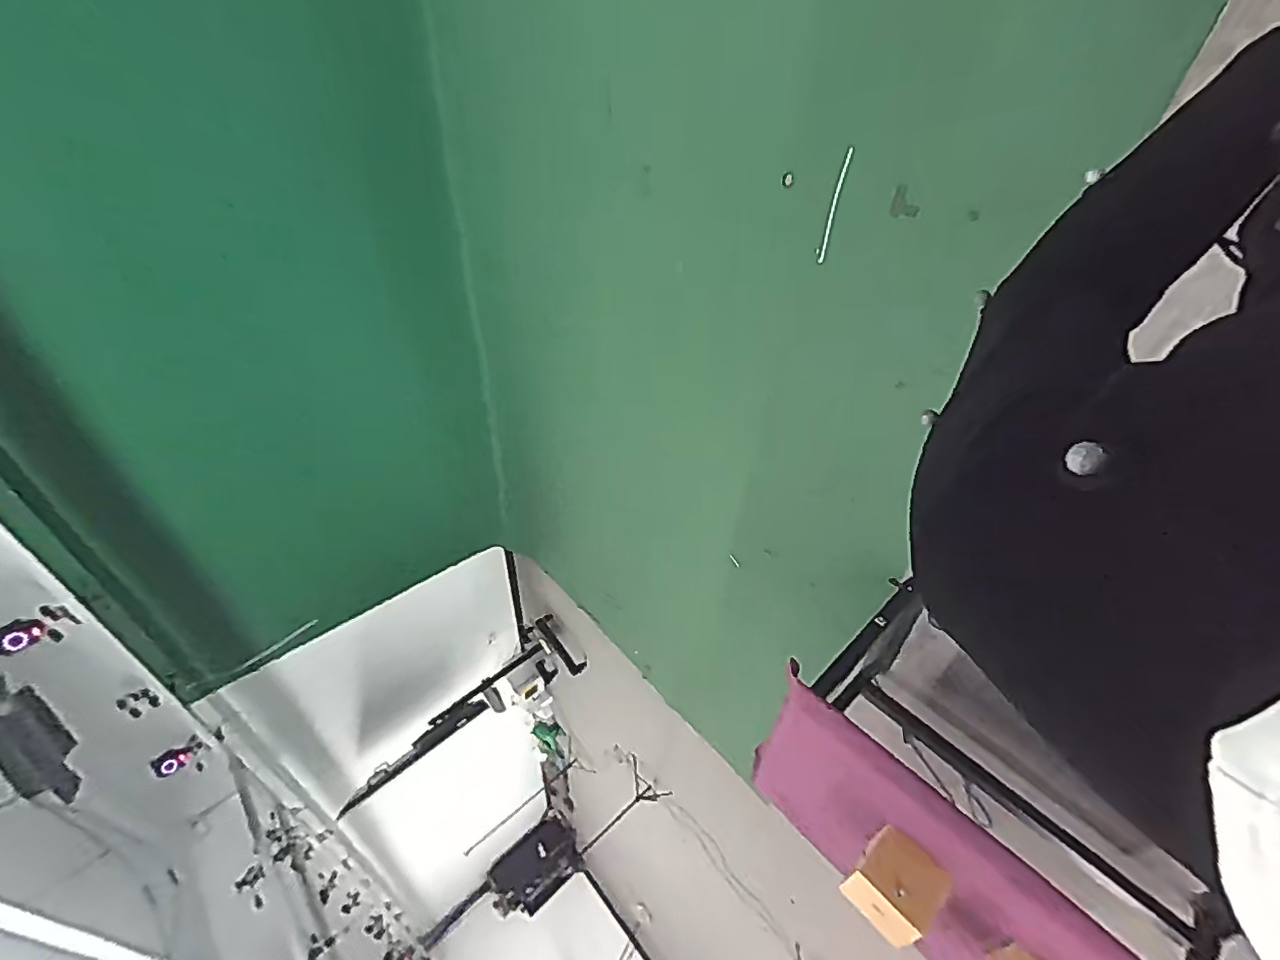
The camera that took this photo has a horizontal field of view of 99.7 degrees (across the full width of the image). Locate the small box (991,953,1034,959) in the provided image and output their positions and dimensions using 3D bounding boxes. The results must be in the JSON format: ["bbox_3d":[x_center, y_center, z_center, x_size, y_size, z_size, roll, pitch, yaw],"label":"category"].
[{"bbox_3d":[0.881,1.224,1.224,0.179,0.176,0.168,37,141,33],"label":"small box"}]

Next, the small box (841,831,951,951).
[{"bbox_3d":[0.662,1.052,1.401,0.179,0.176,0.168,36,139,32],"label":"small box"}]
